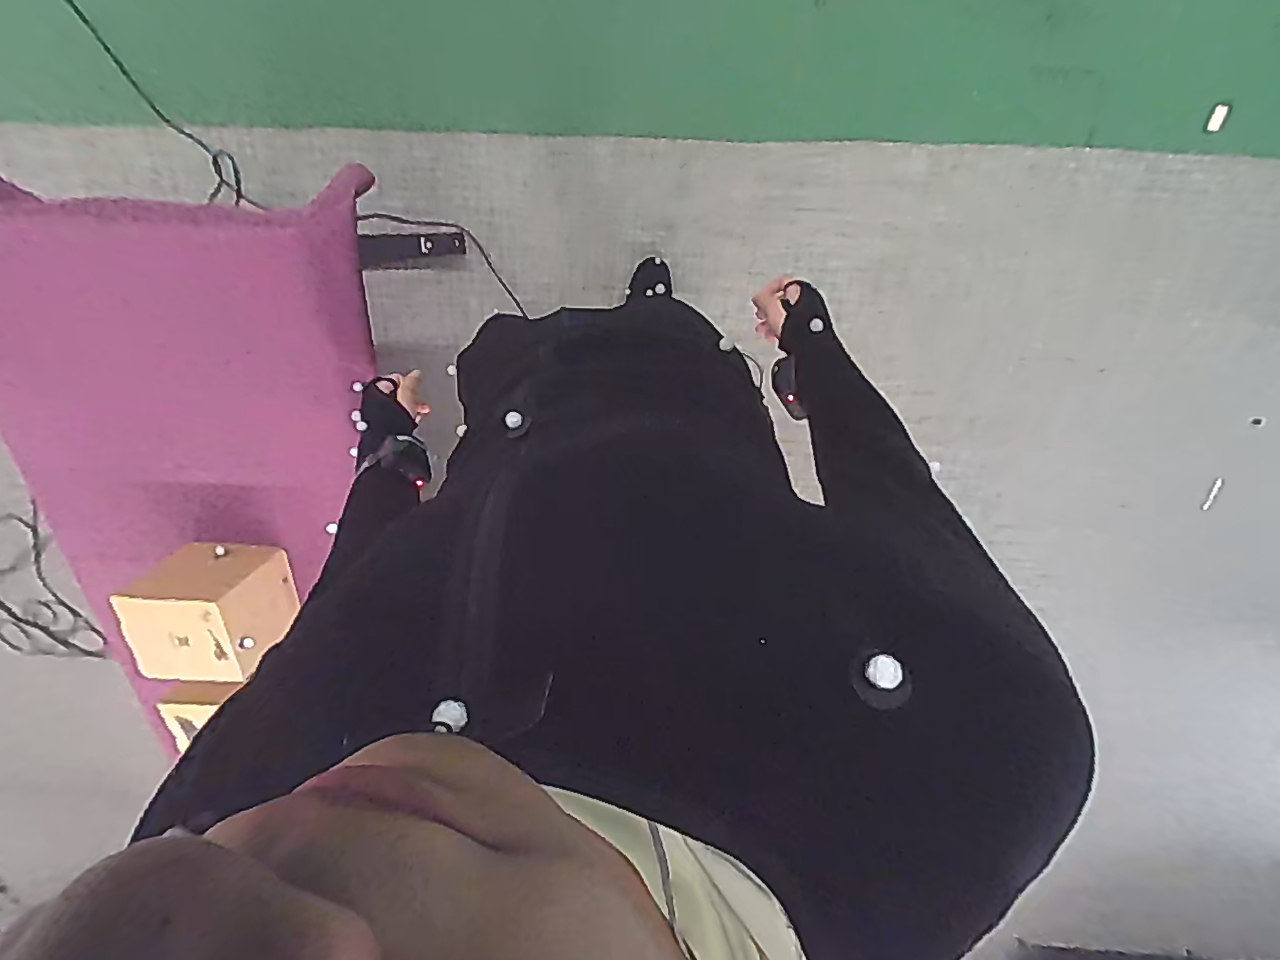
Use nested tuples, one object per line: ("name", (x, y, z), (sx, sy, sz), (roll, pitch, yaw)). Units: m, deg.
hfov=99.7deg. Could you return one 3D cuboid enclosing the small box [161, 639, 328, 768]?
("small box", (-0.748, 0.424, 1.045), (0.179, 0.176, 0.168), (0, 115, 2))
